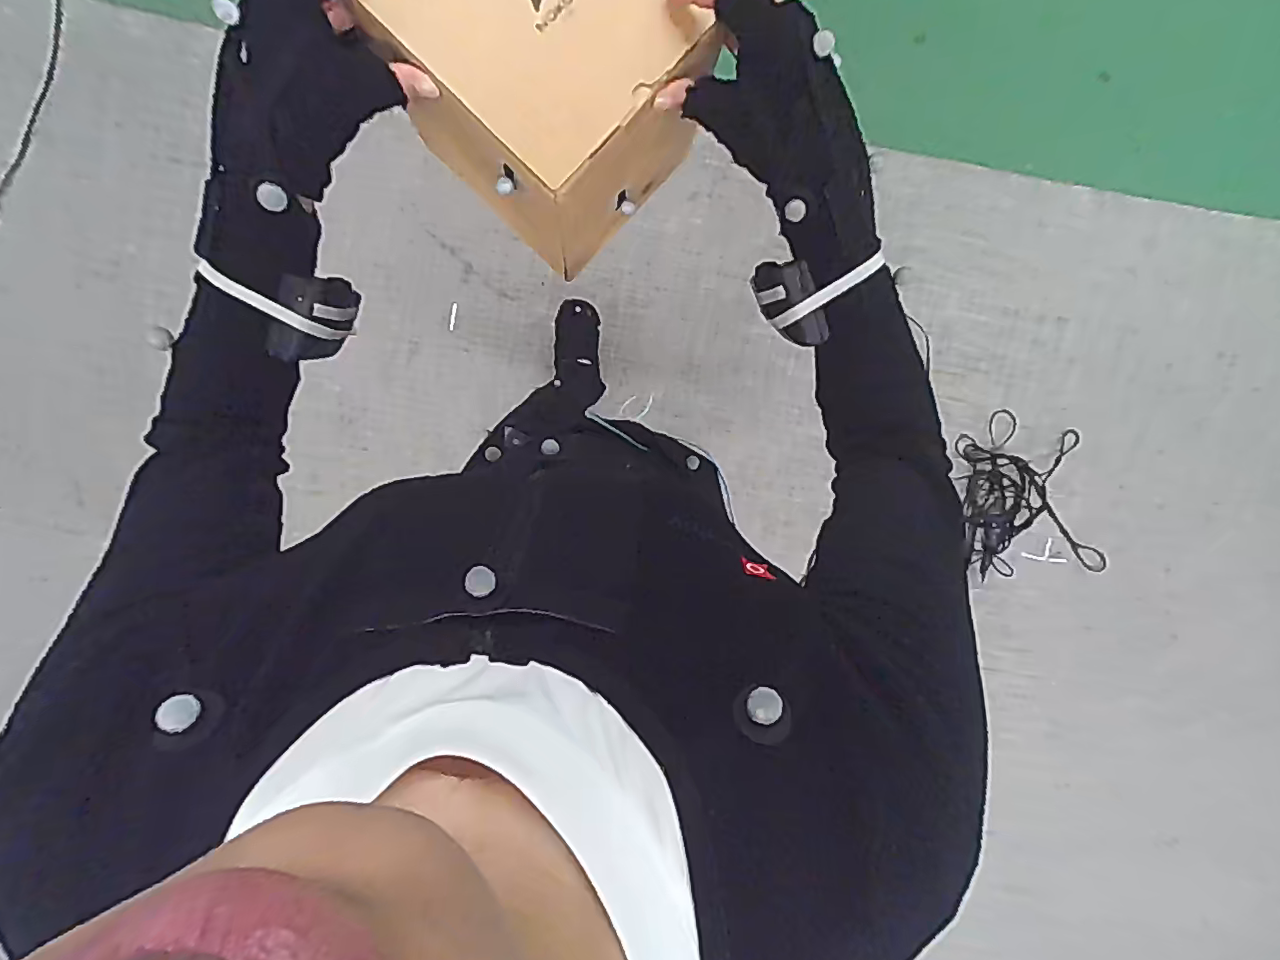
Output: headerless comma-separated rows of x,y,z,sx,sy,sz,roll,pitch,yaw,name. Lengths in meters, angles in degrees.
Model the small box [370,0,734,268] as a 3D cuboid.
-0.064,-0.300,0.415,0.179,0.176,0.168,44,88,-7,small box
